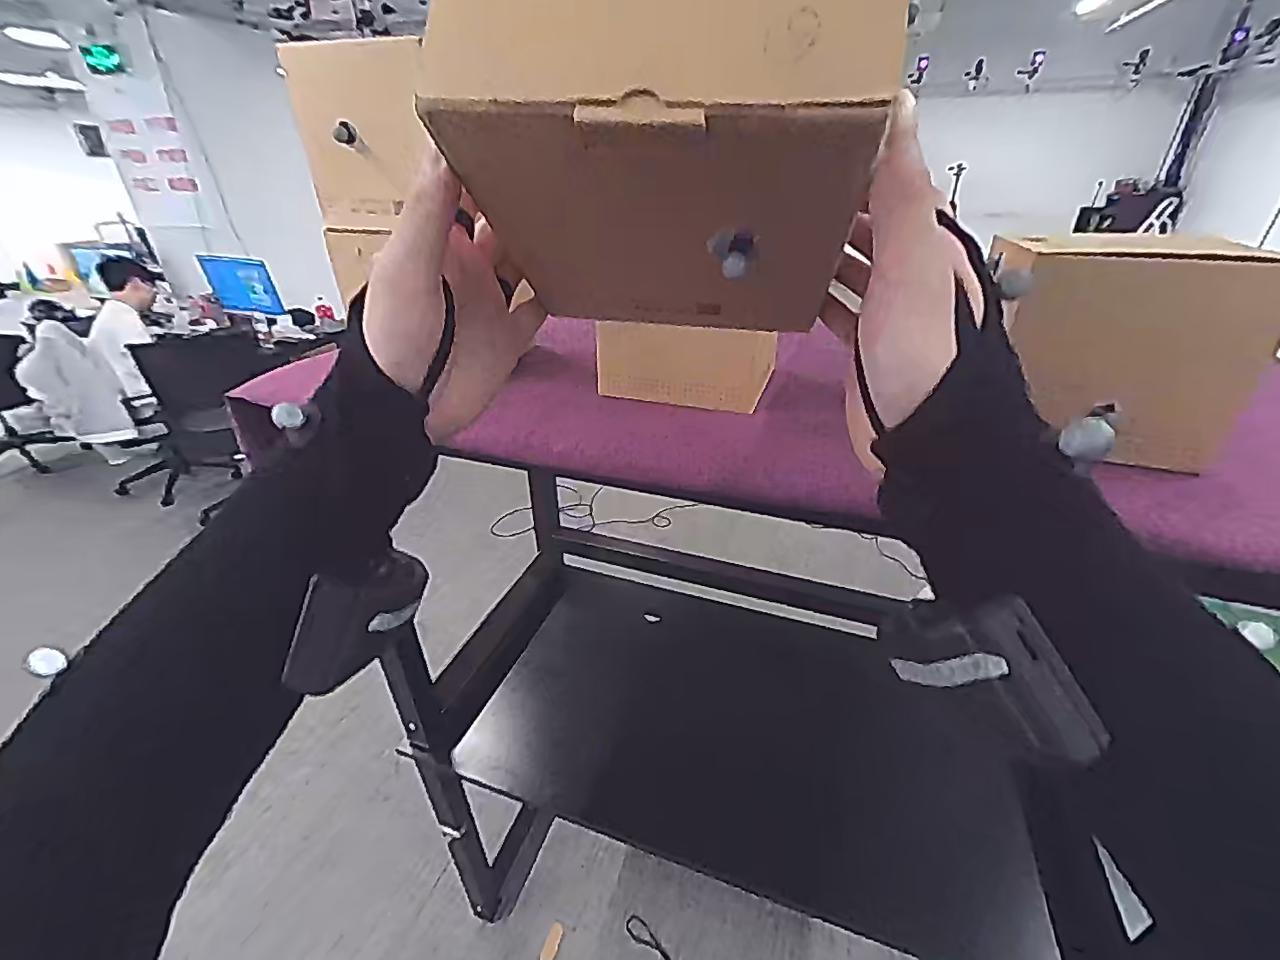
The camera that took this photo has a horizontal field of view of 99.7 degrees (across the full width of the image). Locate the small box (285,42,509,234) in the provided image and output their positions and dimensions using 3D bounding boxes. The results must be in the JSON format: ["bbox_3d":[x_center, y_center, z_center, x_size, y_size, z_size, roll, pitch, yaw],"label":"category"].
[{"bbox_3d":[-0.254,-0.380,0.628,0.168,0.176,0.179,8,30,14],"label":"small box"}]

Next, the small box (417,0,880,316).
[{"bbox_3d":[0.020,-0.202,0.276,0.168,0.179,0.176,7,-9,9],"label":"small box"}]

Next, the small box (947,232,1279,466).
[{"bbox_3d":[0.409,-0.126,0.497,0.179,0.176,0.168,10,30,18],"label":"small box"}]

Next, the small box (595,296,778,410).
[{"bbox_3d":[0.062,-0.189,0.614,0.179,0.176,0.168,10,31,18],"label":"small box"}]

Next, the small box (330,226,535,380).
[{"bbox_3d":[-0.254,-0.237,0.705,0.179,0.176,0.168,9,32,14],"label":"small box"}]
